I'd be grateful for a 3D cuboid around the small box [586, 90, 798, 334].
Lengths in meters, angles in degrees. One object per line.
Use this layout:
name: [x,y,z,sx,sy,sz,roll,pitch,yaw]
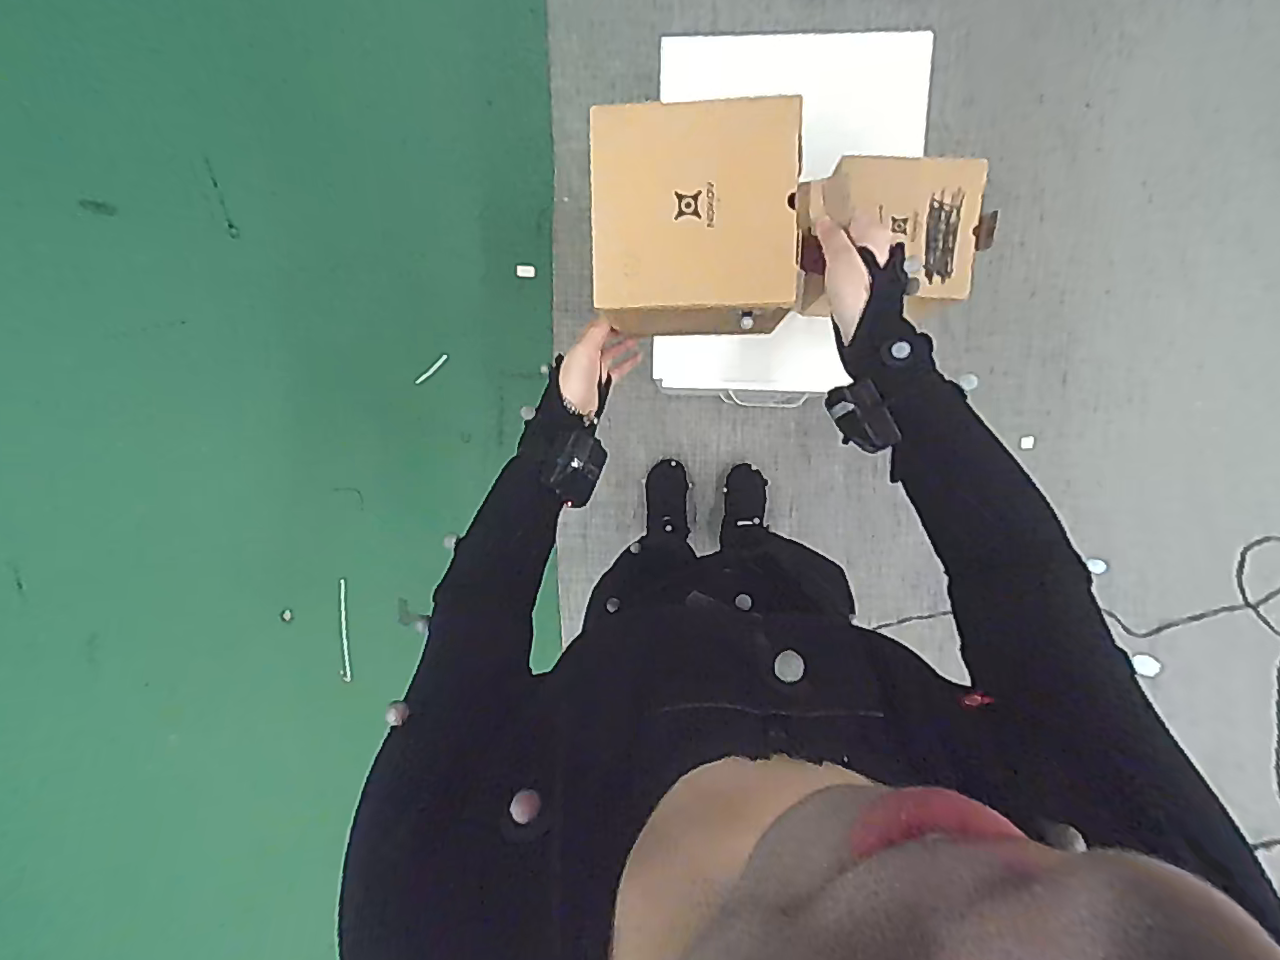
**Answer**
small box: [0.049,-0.241,0.530,0.179,0.176,0.168,0,95,5]
